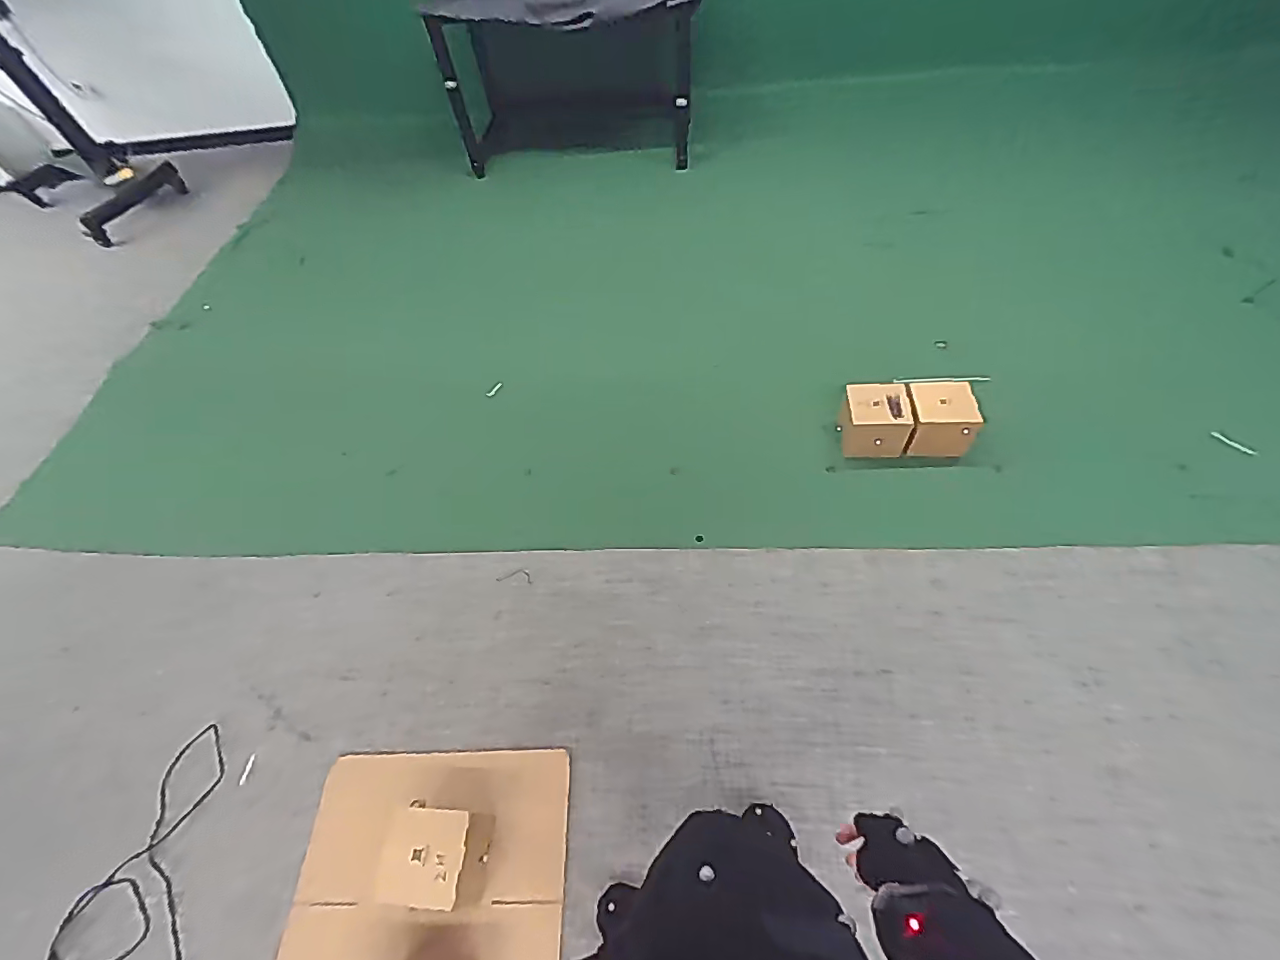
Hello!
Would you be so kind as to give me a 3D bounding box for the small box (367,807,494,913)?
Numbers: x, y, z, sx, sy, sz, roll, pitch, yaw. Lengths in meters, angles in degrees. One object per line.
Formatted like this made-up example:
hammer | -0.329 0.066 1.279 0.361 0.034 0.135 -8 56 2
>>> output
small box | -0.433 0.802 1.148 0.179 0.176 0.168 0 57 6
